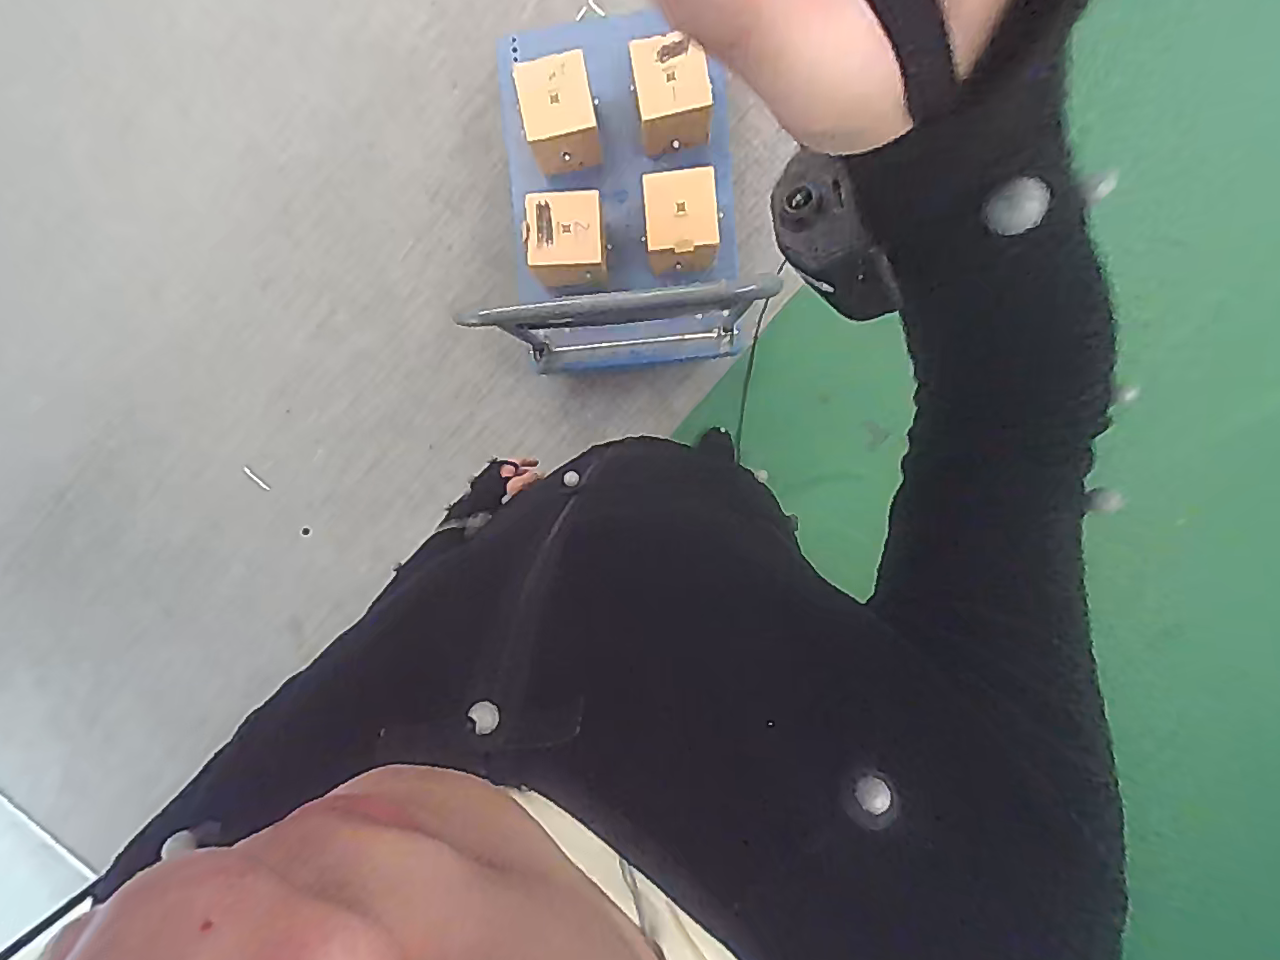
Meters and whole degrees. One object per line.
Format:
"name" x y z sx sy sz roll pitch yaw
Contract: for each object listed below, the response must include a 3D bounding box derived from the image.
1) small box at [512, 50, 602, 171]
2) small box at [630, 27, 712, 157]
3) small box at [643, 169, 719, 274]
"small box" -0.194 -0.877 1.307 0.168 0.176 0.179 -10 94 3
"small box" 0.072 -0.915 1.290 0.168 0.176 0.179 -10 95 4
"small box" 0.096 -0.621 1.315 0.168 0.176 0.179 -5 95 3
